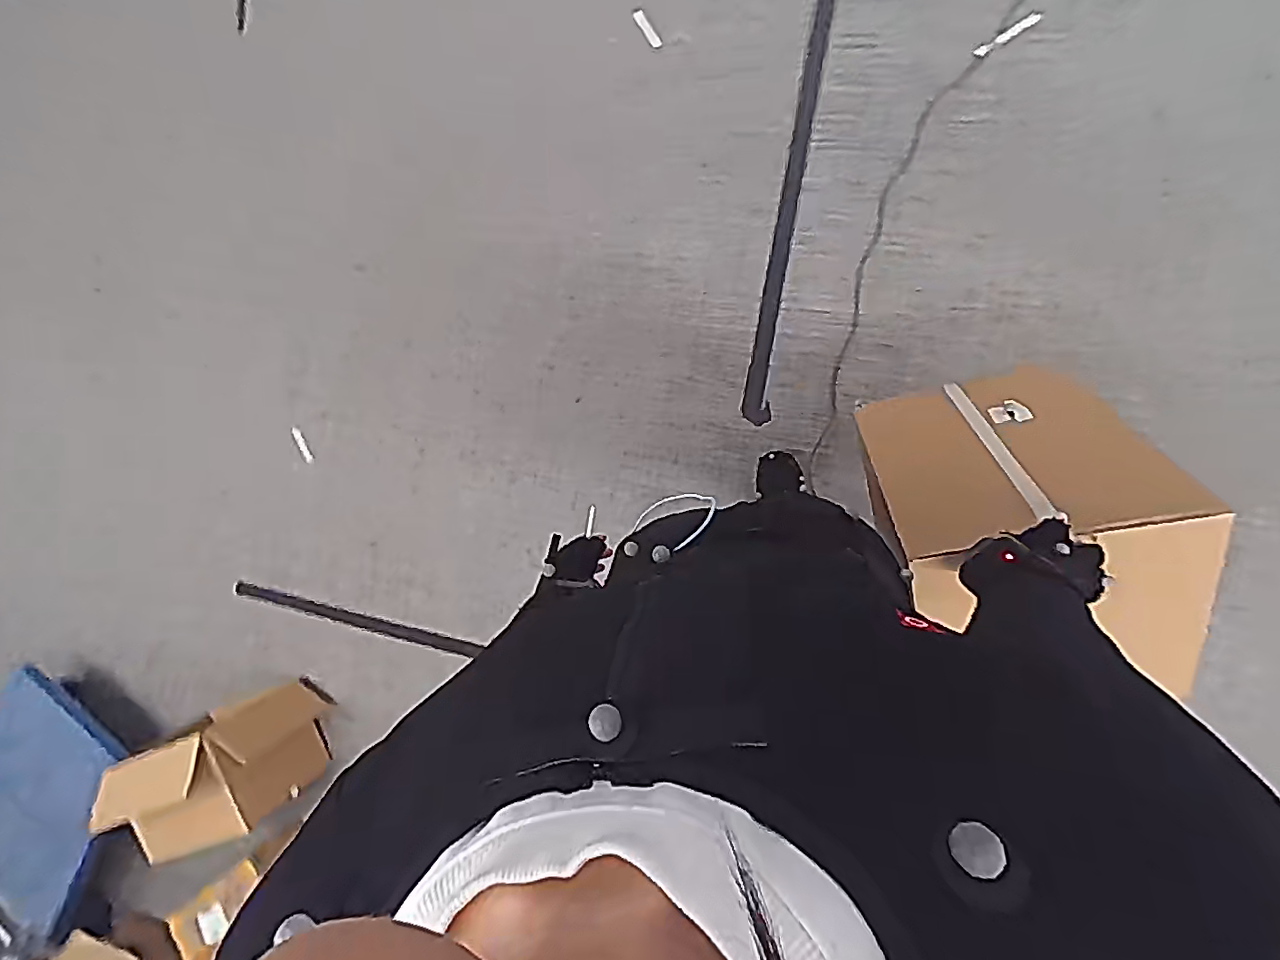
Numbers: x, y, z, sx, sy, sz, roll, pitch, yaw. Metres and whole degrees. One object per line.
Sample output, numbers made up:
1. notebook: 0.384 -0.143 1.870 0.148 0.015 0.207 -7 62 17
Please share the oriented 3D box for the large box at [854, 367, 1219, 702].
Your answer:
1. large box: 0.555 0.074 0.850 0.320 0.408 0.320 -11 121 18
